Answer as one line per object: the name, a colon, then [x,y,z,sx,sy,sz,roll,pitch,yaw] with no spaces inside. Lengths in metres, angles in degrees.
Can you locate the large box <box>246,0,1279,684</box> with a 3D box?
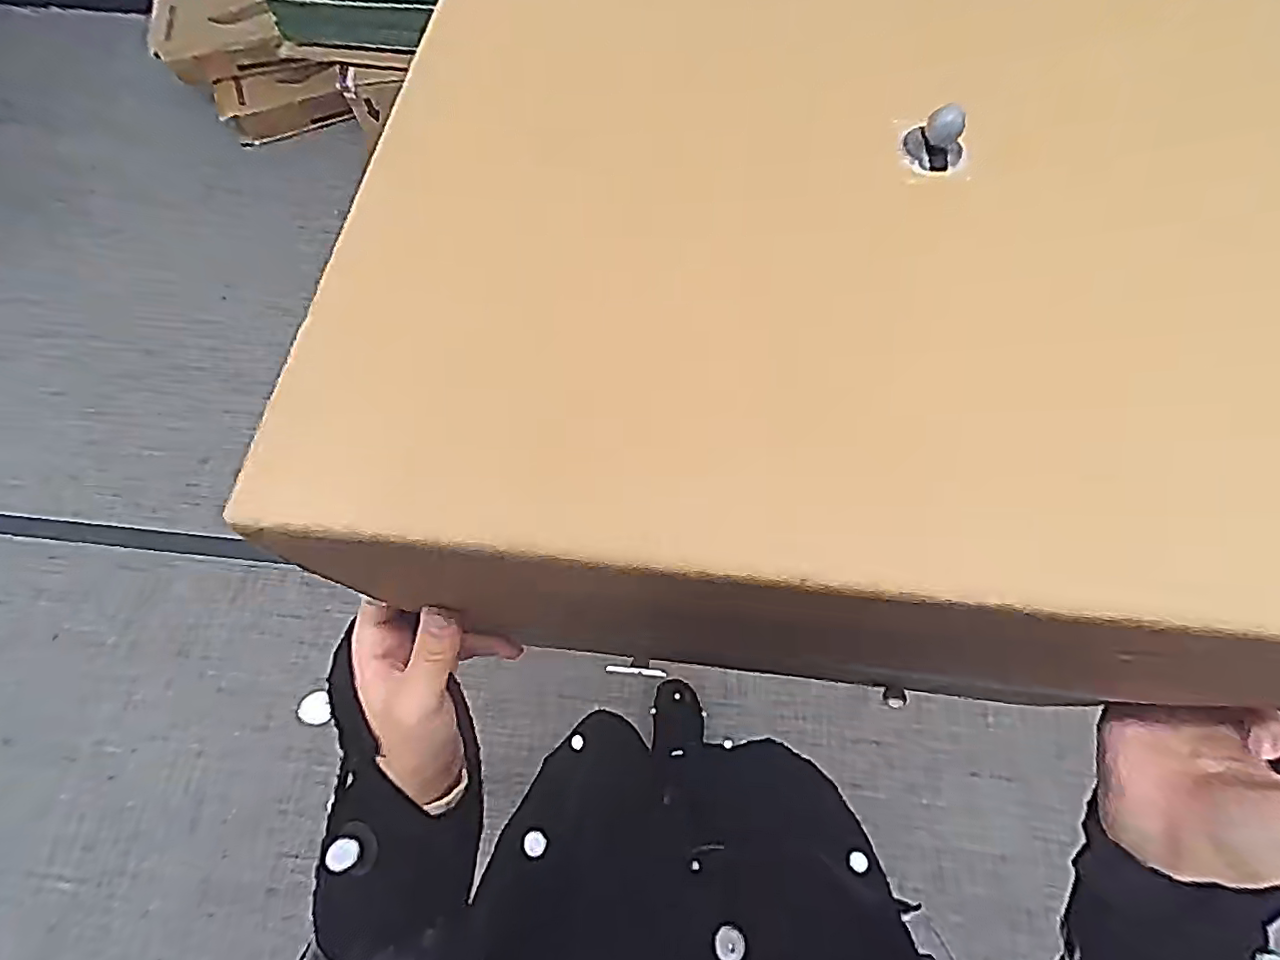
large box: [0.096,-0.062,0.336,0.408,0.320,0.320,5,69,1]
